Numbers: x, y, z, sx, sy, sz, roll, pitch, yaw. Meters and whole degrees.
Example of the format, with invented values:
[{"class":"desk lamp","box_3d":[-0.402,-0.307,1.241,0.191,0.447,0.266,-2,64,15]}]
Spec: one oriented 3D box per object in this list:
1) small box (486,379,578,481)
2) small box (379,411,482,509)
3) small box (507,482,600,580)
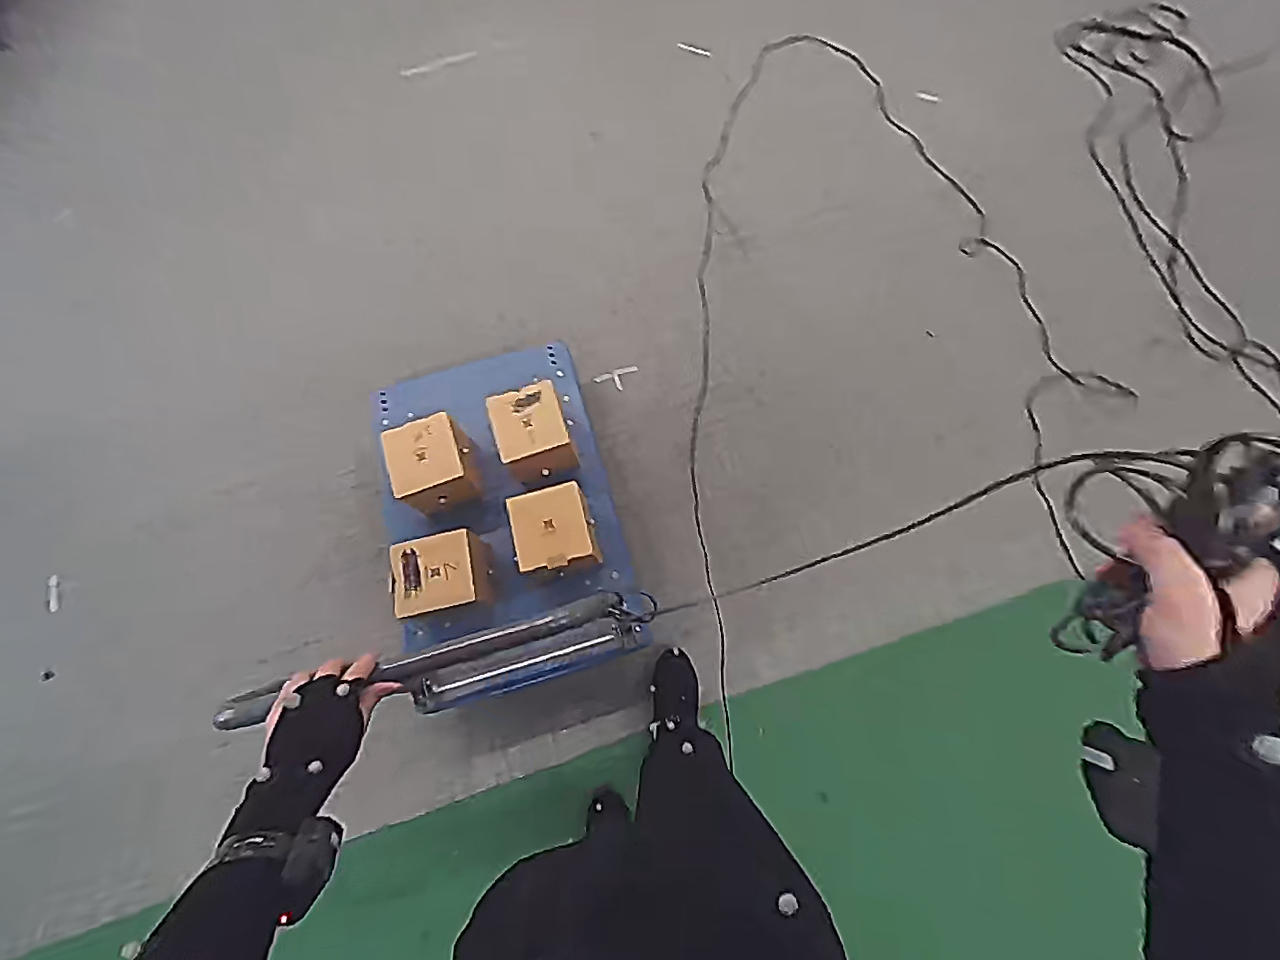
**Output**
[{"class":"small box","box_3d":[-0.263,-0.119,1.345,0.168,0.176,0.179,-18,75,-3]},{"class":"small box","box_3d":[-0.506,-0.038,1.330,0.168,0.176,0.179,-20,74,-4]},{"class":"small box","box_3d":[-0.198,0.125,1.272,0.168,0.176,0.179,-15,74,-2]}]
